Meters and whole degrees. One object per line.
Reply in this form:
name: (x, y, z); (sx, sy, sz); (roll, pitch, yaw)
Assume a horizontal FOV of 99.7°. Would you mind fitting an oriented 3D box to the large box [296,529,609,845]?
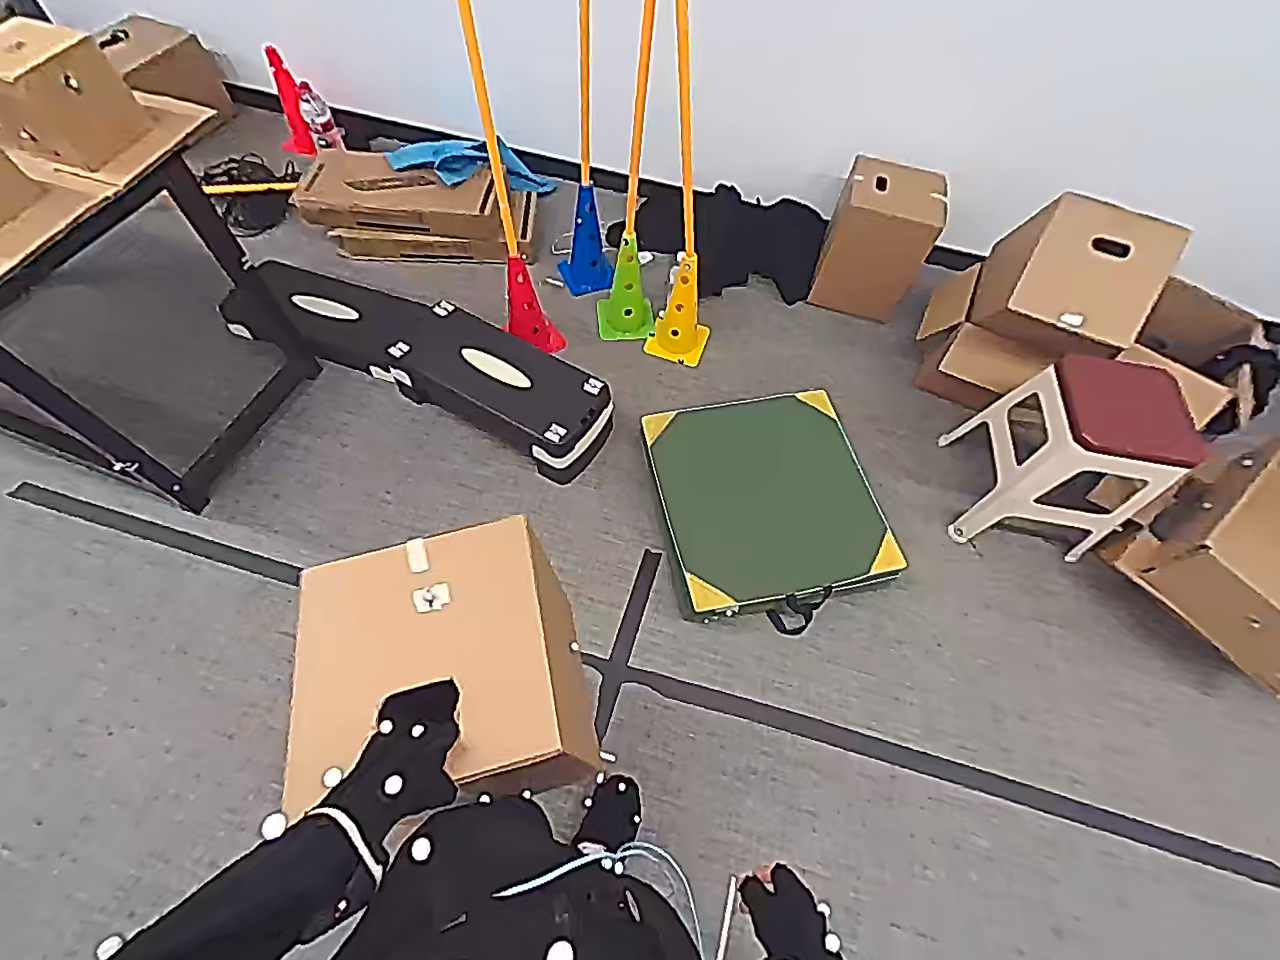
large box: (-0.257, 0.322, 0.837); (0.320, 0.408, 0.320); (-15, 61, -4)
